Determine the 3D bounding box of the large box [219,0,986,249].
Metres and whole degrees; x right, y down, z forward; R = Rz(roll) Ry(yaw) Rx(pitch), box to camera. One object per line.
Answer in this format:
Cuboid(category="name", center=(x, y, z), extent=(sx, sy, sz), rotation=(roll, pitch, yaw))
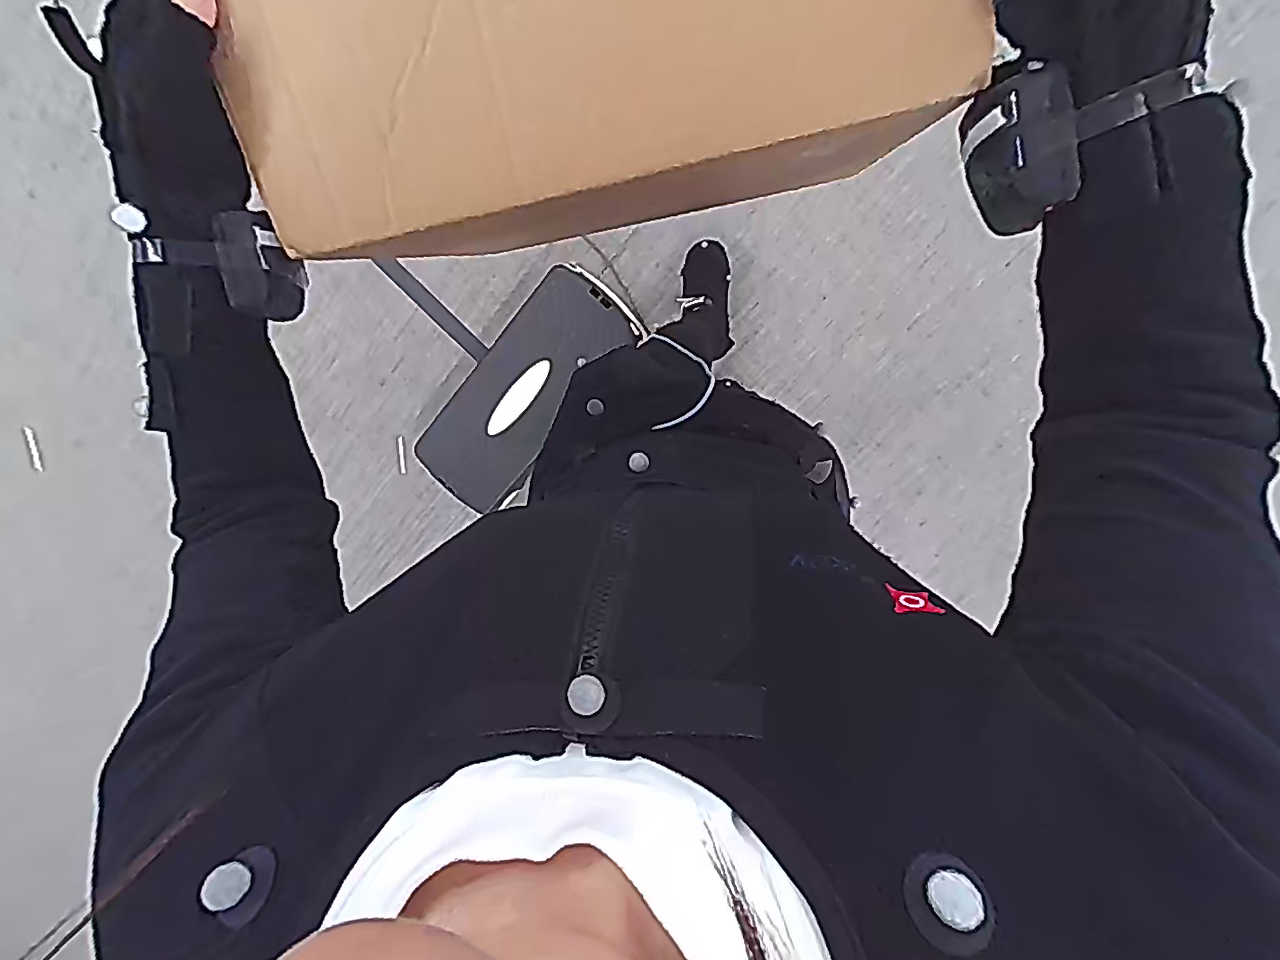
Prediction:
Cuboid(category="large box", center=(-0.030, -0.375, 0.395), extent=(0.408, 0.320, 0.320), rotation=(-7, 112, 12))
